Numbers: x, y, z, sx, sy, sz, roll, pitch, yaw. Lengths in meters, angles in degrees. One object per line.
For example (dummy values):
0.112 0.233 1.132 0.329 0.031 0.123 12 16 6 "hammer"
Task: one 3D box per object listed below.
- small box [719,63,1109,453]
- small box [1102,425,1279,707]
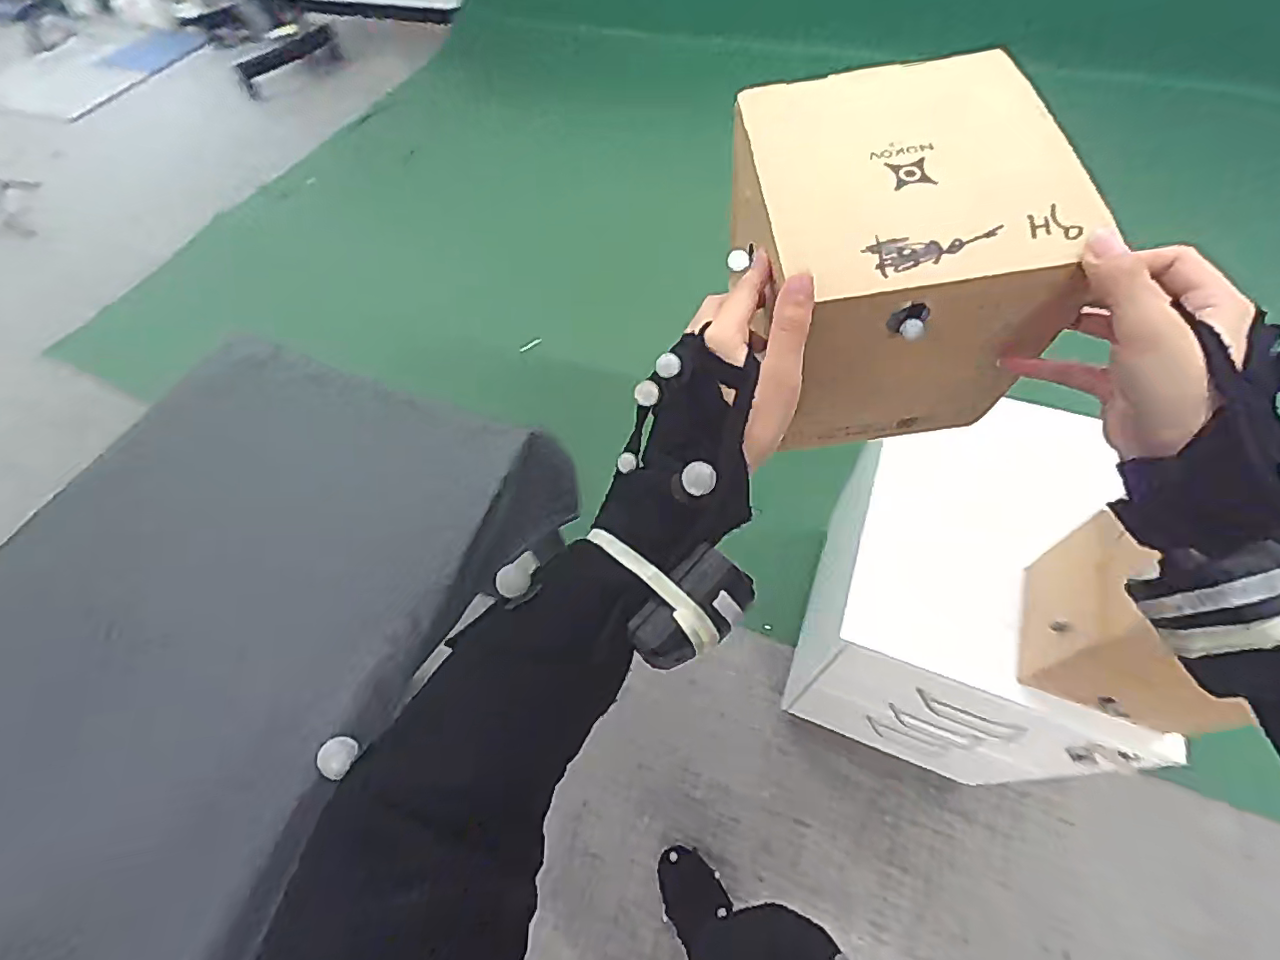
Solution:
0.150 -0.140 0.376 0.168 0.176 0.179 -7 65 3 "small box"
0.569 0.085 0.495 0.168 0.176 0.179 19 61 16 "small box"
